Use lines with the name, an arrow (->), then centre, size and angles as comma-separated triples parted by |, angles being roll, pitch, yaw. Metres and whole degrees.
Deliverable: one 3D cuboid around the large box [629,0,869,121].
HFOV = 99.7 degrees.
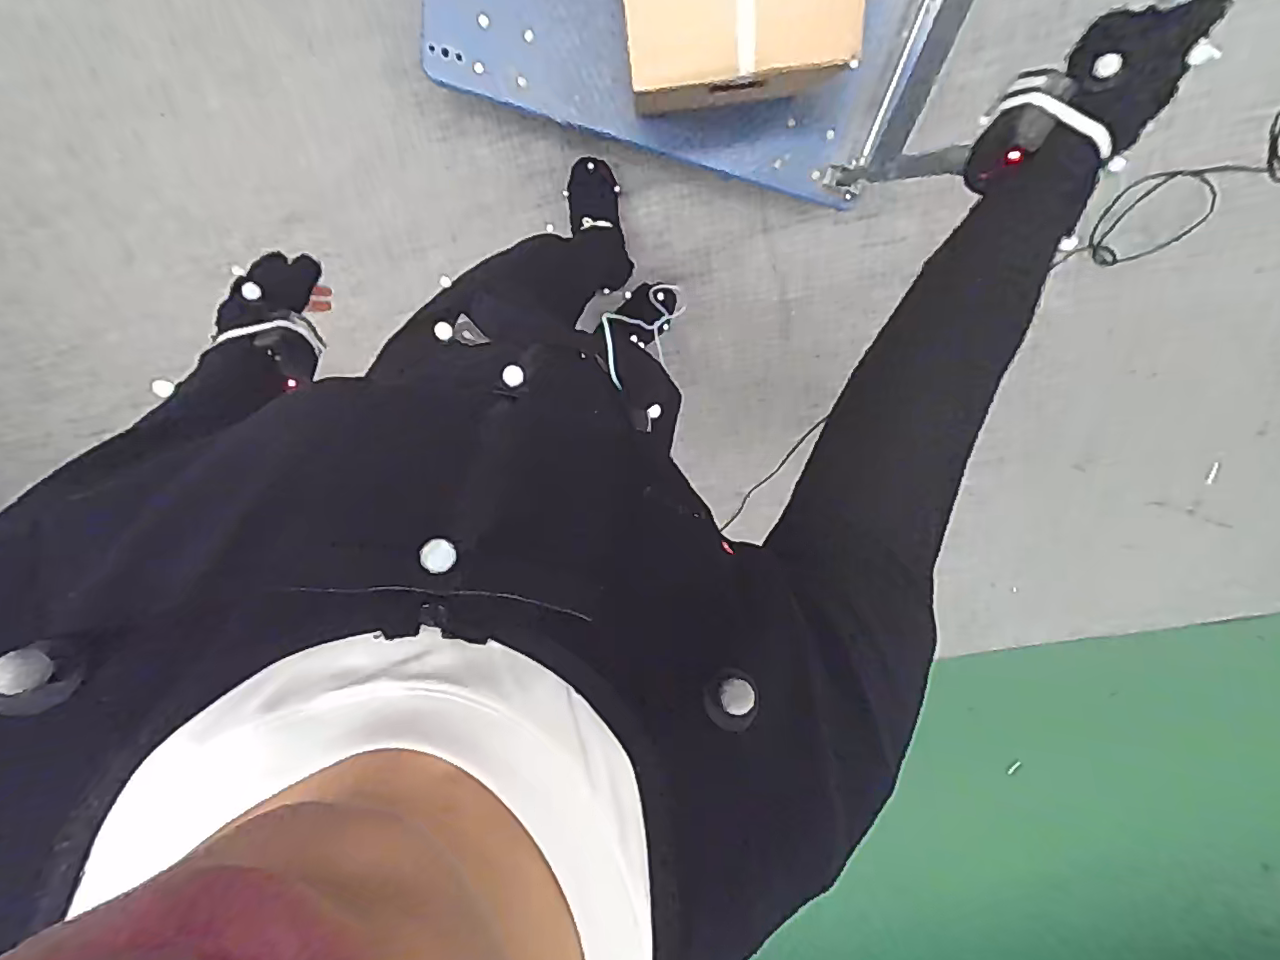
large box -> 0.133, -0.797, 0.791 | 0.320, 0.320, 0.408 | -6, 119, 4
